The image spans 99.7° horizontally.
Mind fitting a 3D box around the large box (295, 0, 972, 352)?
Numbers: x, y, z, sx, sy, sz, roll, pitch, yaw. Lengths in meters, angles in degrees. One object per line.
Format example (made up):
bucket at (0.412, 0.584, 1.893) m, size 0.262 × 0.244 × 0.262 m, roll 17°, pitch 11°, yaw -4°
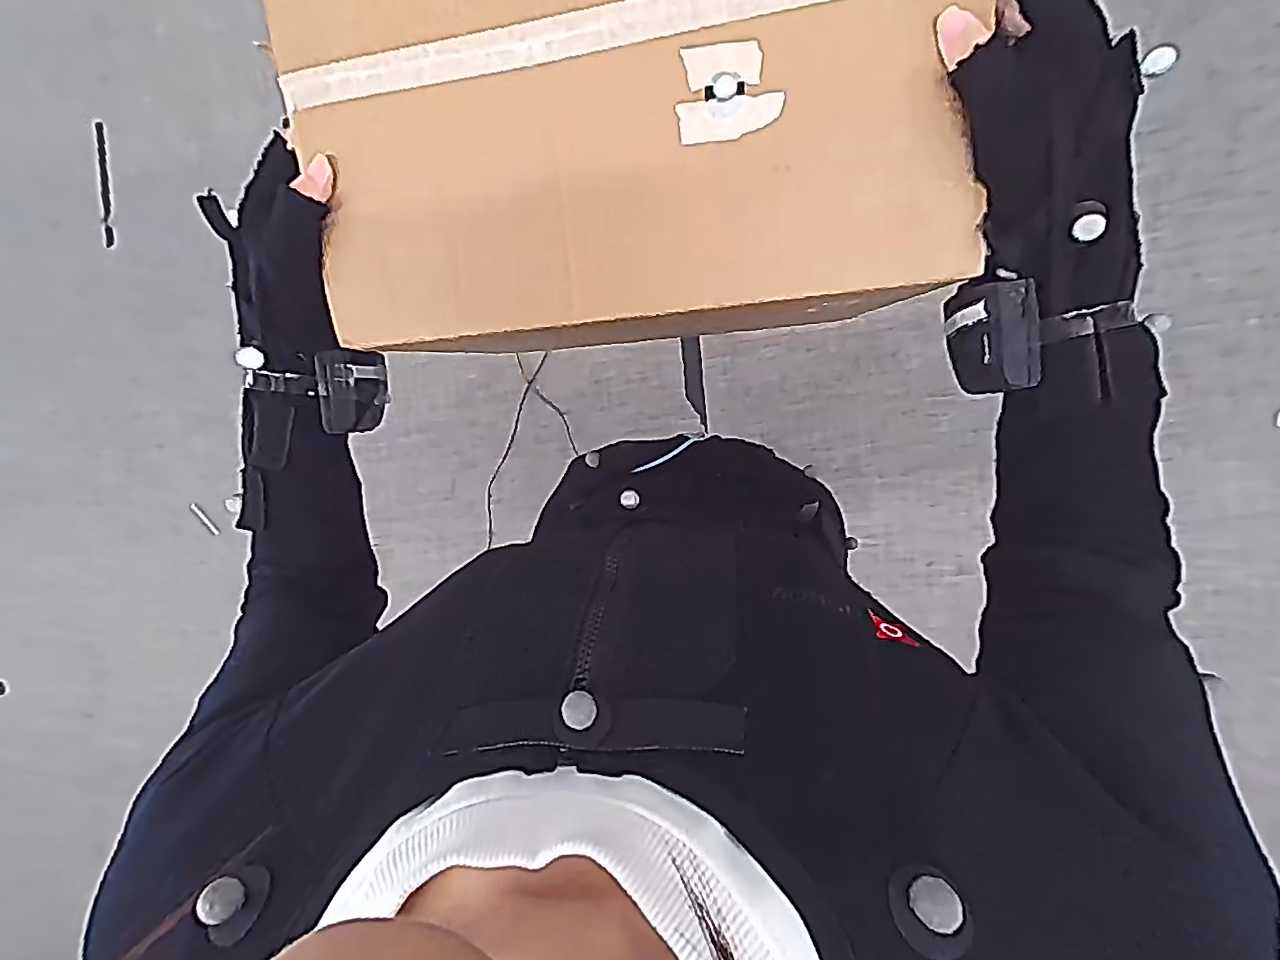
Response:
large box at (0.002, -0.293, 0.465) m, size 0.408 × 0.320 × 0.320 m, roll -4°, pitch 102°, yaw 9°
